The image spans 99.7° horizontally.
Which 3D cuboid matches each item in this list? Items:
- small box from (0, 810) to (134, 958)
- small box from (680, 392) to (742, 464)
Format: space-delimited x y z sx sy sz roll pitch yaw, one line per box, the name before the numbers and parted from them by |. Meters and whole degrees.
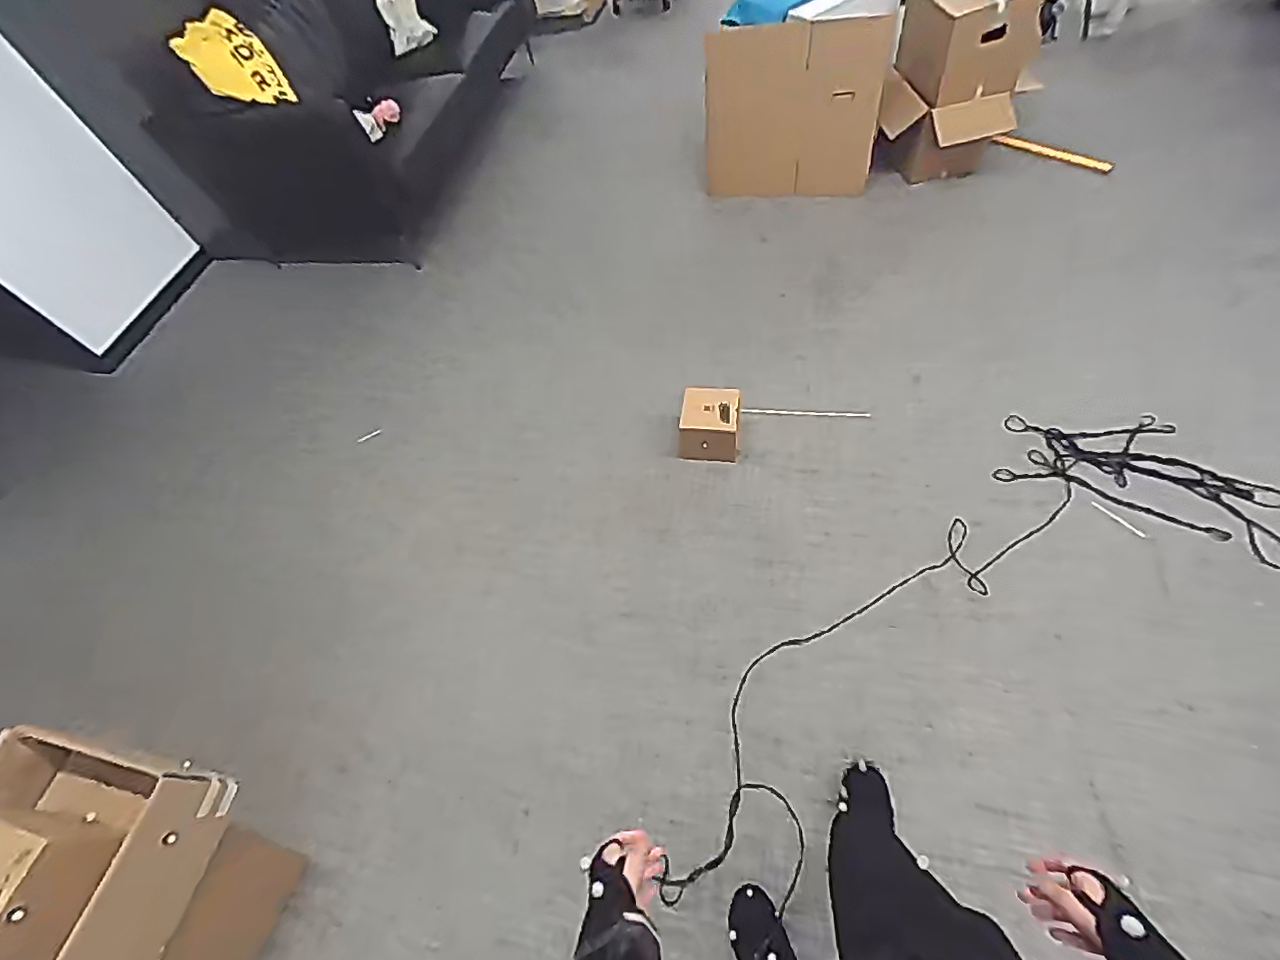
small box | -1.031 0.670 0.903 0.179 0.176 0.168 8 61 15
small box | 0.232 -0.164 1.734 0.179 0.176 0.168 4 58 14
